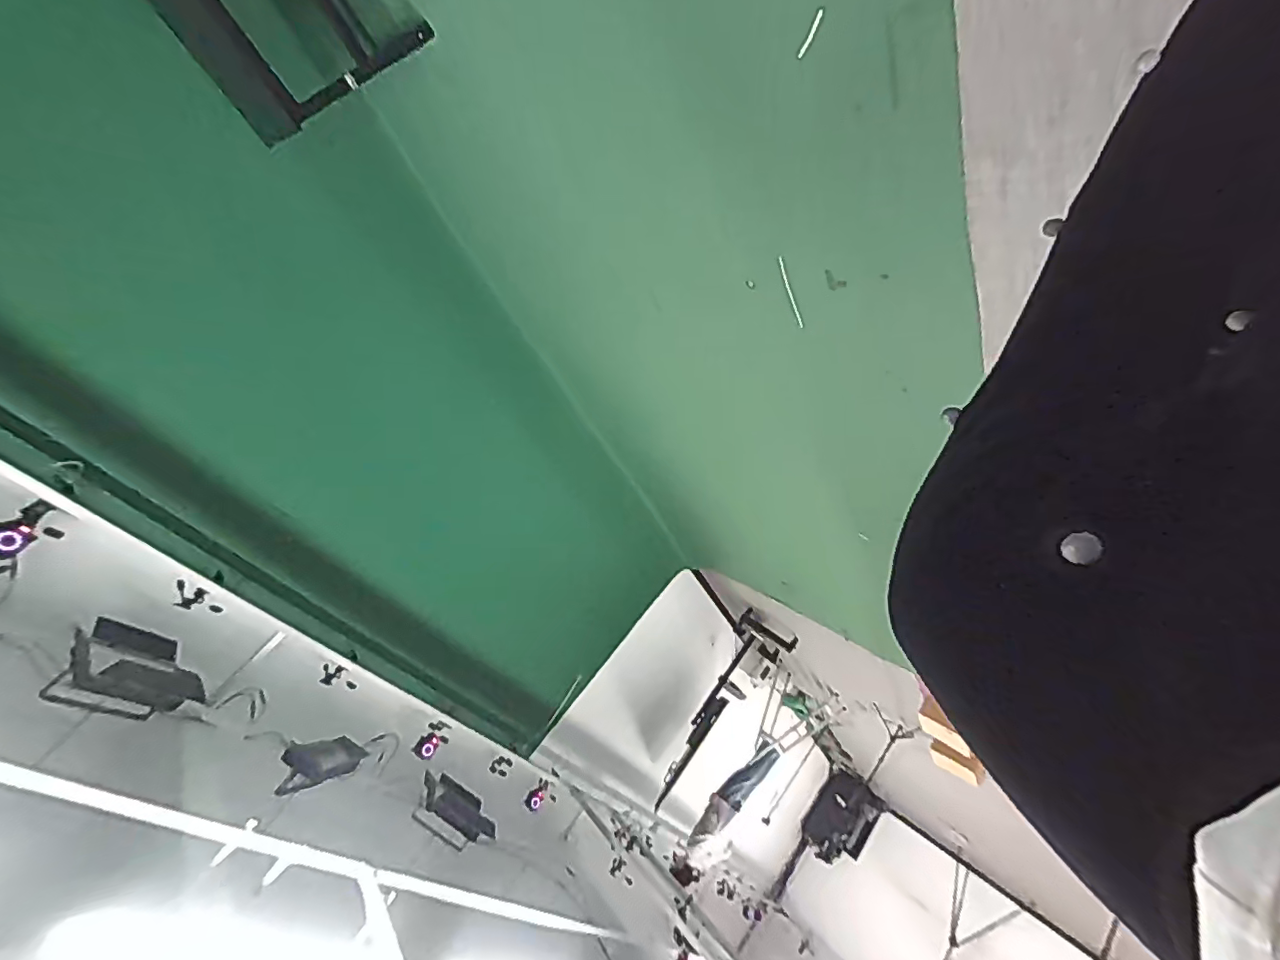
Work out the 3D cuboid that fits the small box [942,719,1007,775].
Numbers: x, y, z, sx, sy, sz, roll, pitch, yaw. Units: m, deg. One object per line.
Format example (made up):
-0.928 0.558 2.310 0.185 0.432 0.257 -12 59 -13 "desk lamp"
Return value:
1.332 1.023 2.147 0.168 0.176 0.179 18 152 48 "small box"
